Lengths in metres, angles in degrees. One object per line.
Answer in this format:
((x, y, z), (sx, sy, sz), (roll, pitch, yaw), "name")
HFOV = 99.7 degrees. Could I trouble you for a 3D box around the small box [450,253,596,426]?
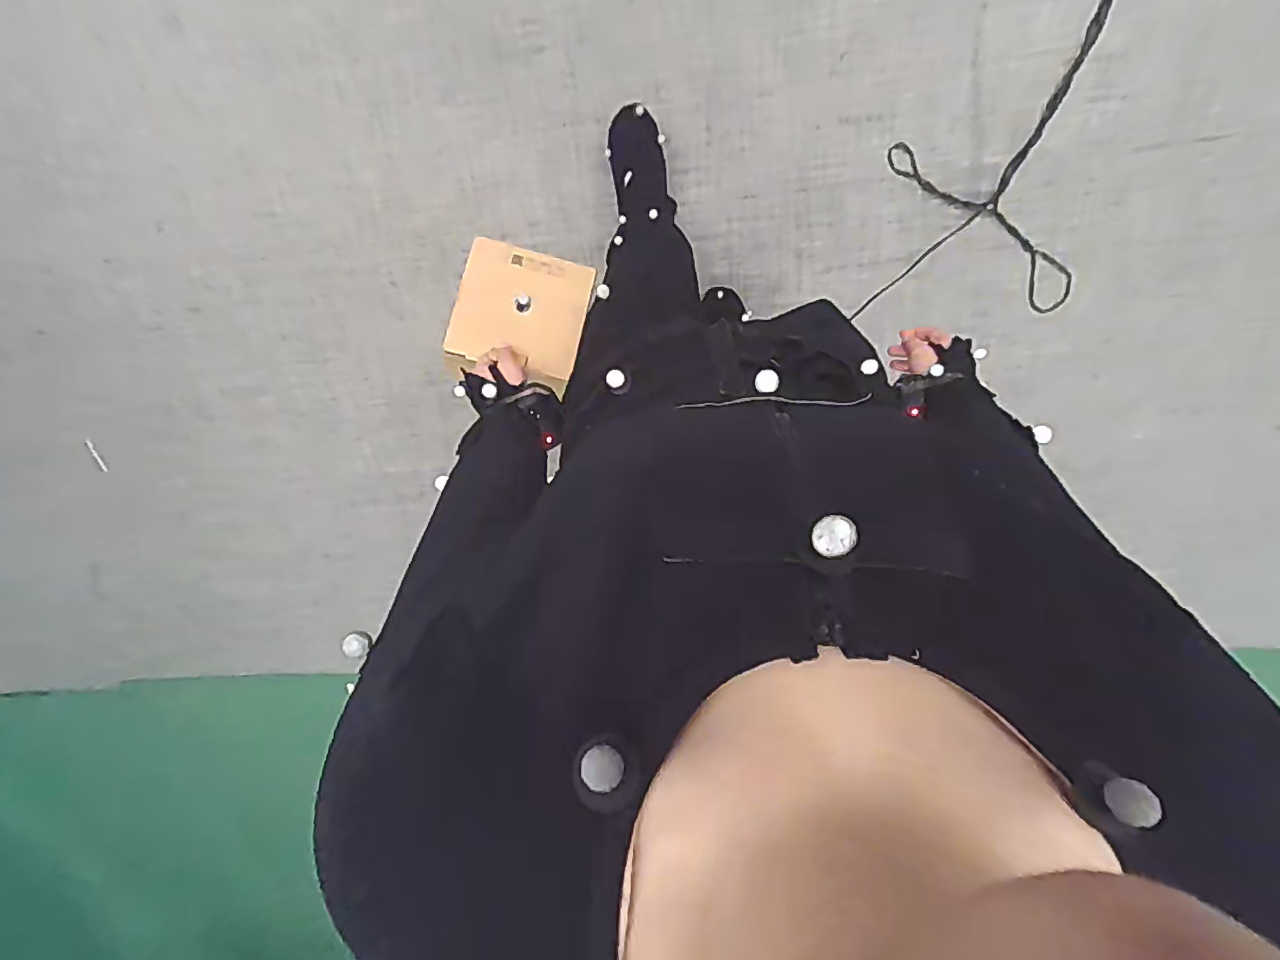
((-0.164, -0.198, 0.788), (0.168, 0.179, 0.176), (12, 77, -8), "small box")
